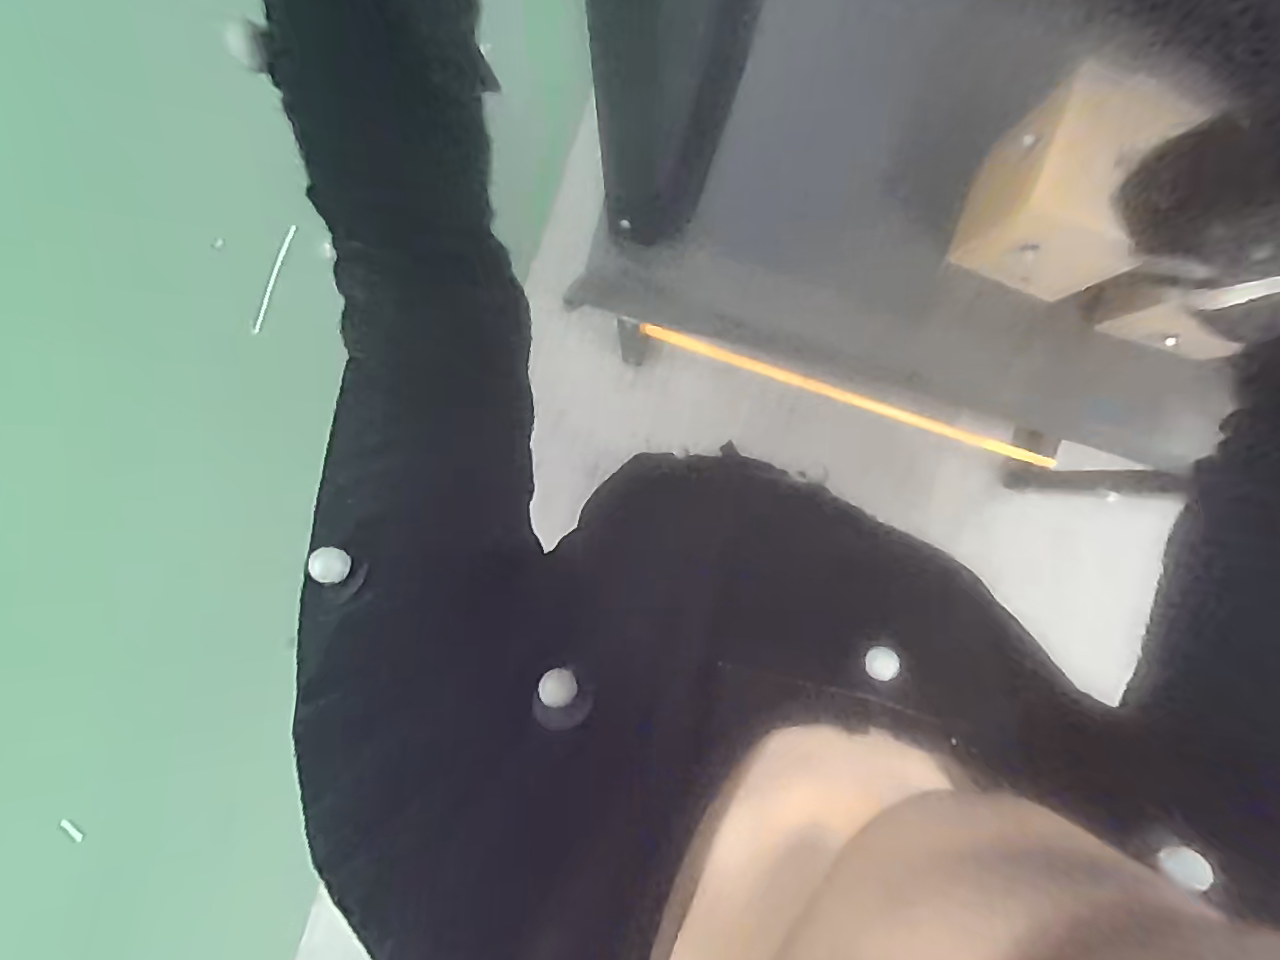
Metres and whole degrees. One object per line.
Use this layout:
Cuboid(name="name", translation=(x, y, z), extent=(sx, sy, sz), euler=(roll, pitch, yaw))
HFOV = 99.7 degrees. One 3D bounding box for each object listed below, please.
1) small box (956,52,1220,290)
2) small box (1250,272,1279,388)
Cuboid(name="small box", translation=(0.539, -0.367, 0.681), extent=(0.168, 0.176, 0.179), euler=(22, 90, -1))
Cuboid(name="small box", translation=(0.954, -0.197, 0.683), extent=(0.168, 0.176, 0.179), euler=(16, 90, -1))
